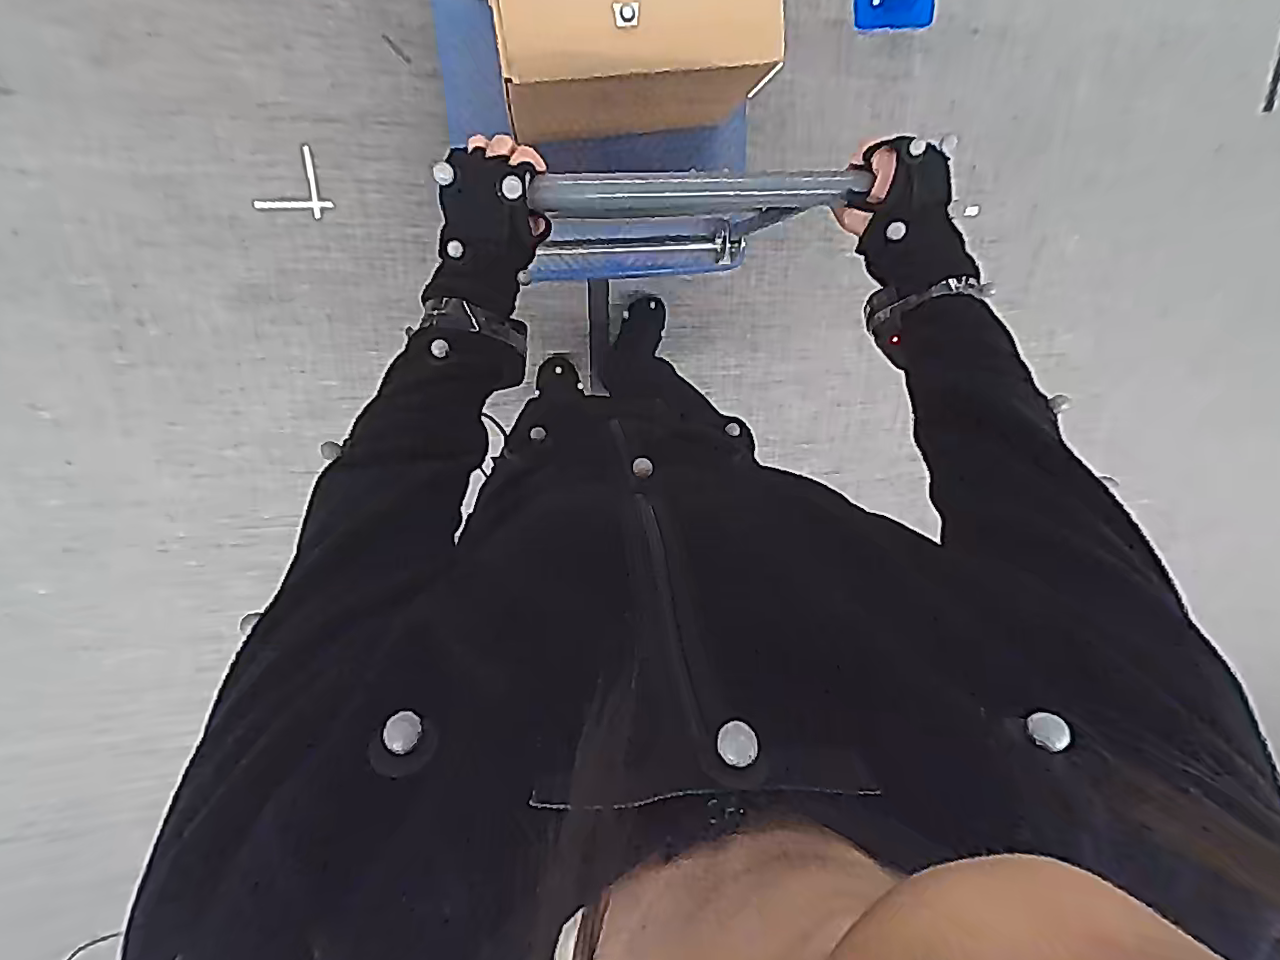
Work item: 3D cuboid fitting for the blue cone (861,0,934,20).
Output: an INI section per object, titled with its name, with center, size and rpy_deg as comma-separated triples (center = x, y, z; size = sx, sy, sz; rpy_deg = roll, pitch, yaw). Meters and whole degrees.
[blue cone]
center = 0.609, -1.095, 1.052
size = 0.193, 0.380, 0.192
rpy_deg = -8, 108, -9
